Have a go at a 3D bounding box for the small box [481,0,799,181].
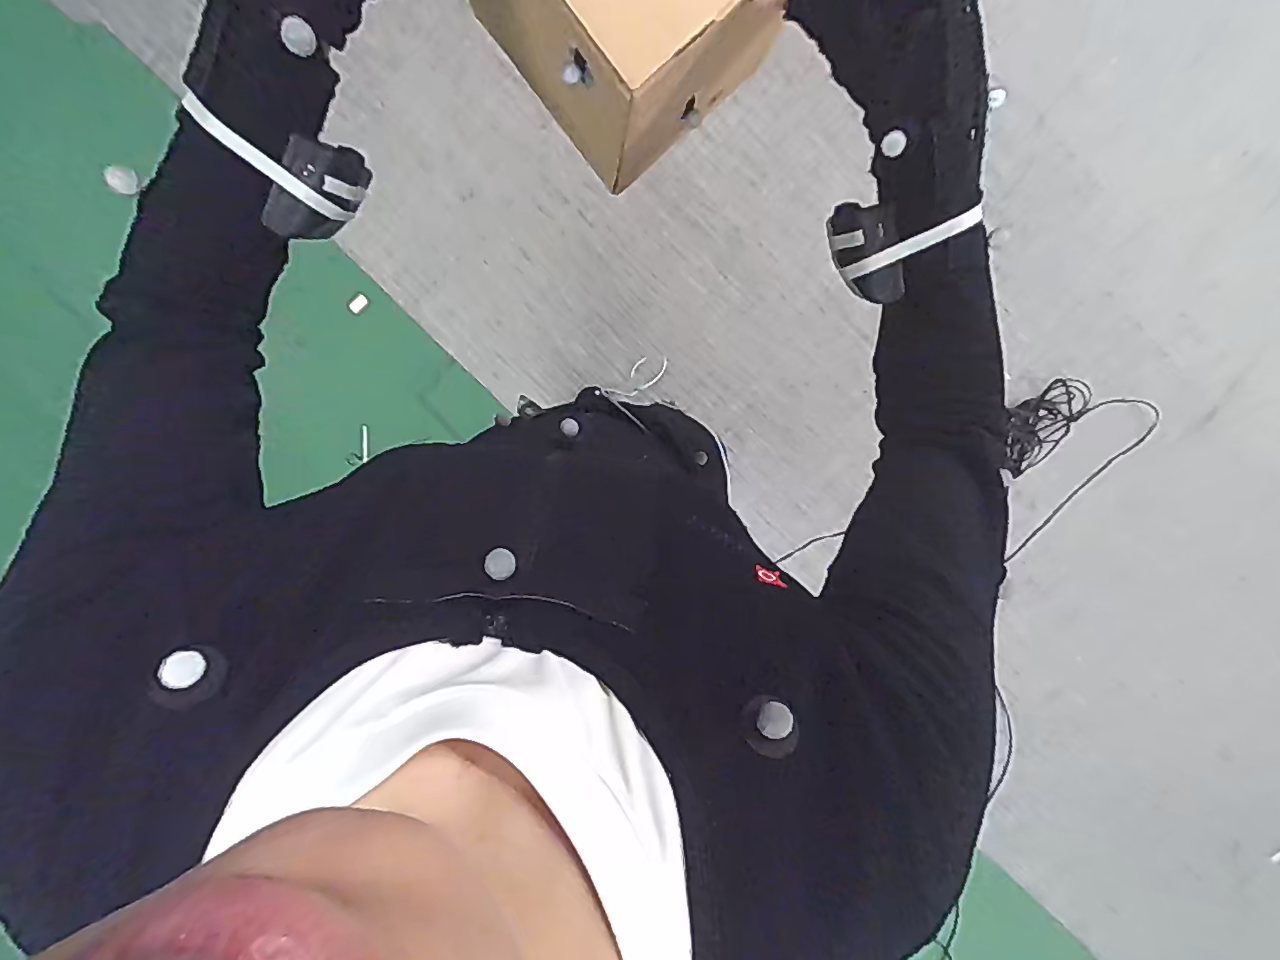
[{"bbox_3d":[-0.004,-0.346,0.362,0.168,0.176,0.179,-40,104,2],"label":"small box"}]
